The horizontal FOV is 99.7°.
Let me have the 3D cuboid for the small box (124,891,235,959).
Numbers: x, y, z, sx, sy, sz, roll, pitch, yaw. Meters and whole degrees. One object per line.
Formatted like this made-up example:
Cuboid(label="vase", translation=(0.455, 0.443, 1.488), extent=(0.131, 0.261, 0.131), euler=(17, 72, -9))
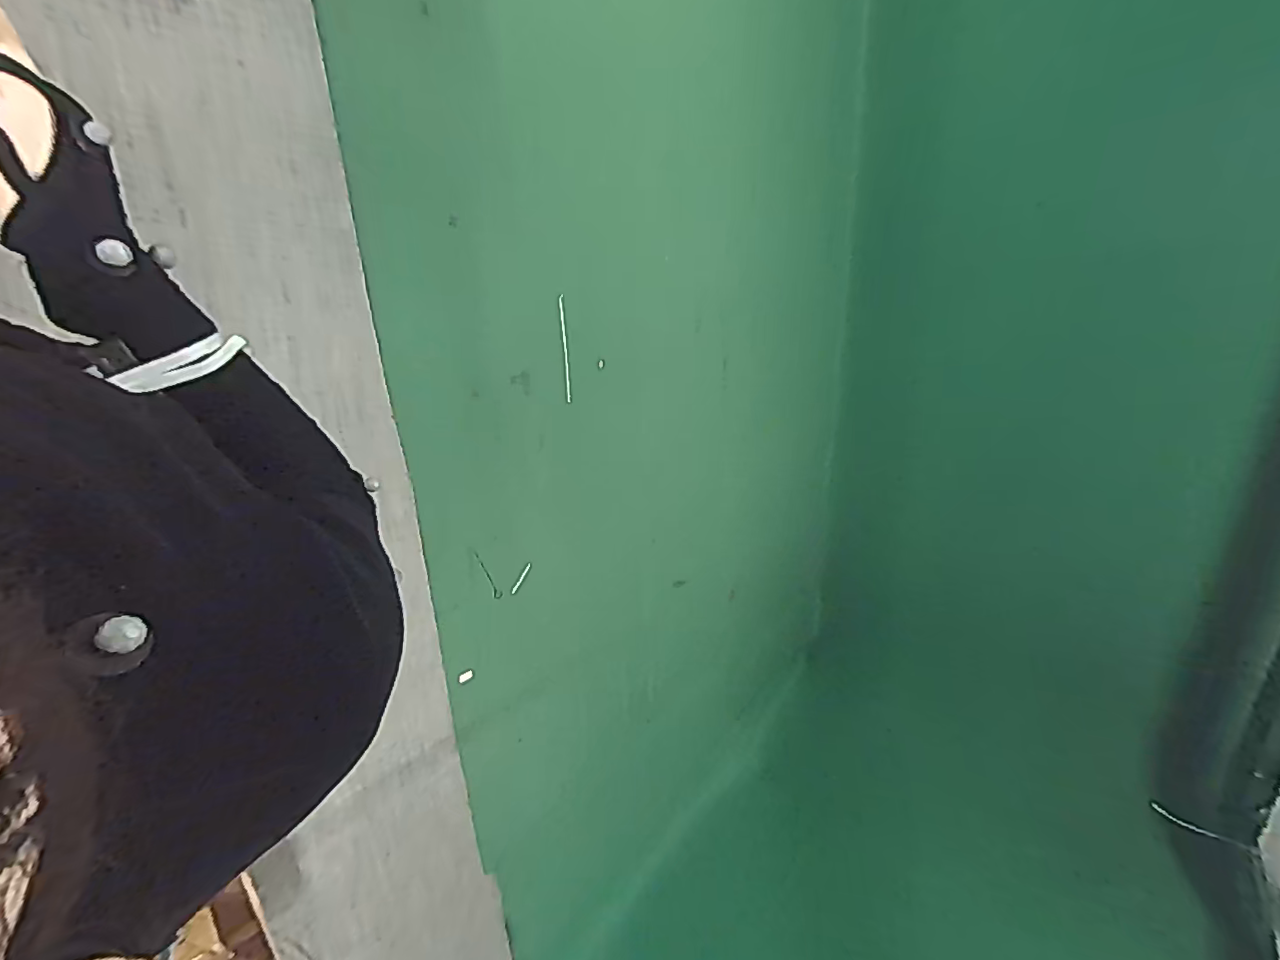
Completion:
Cuboid(label="small box", translation=(-1.072, 1.119, 1.265), extent=(0.168, 0.176, 0.179), euler=(-18, 115, -45))
